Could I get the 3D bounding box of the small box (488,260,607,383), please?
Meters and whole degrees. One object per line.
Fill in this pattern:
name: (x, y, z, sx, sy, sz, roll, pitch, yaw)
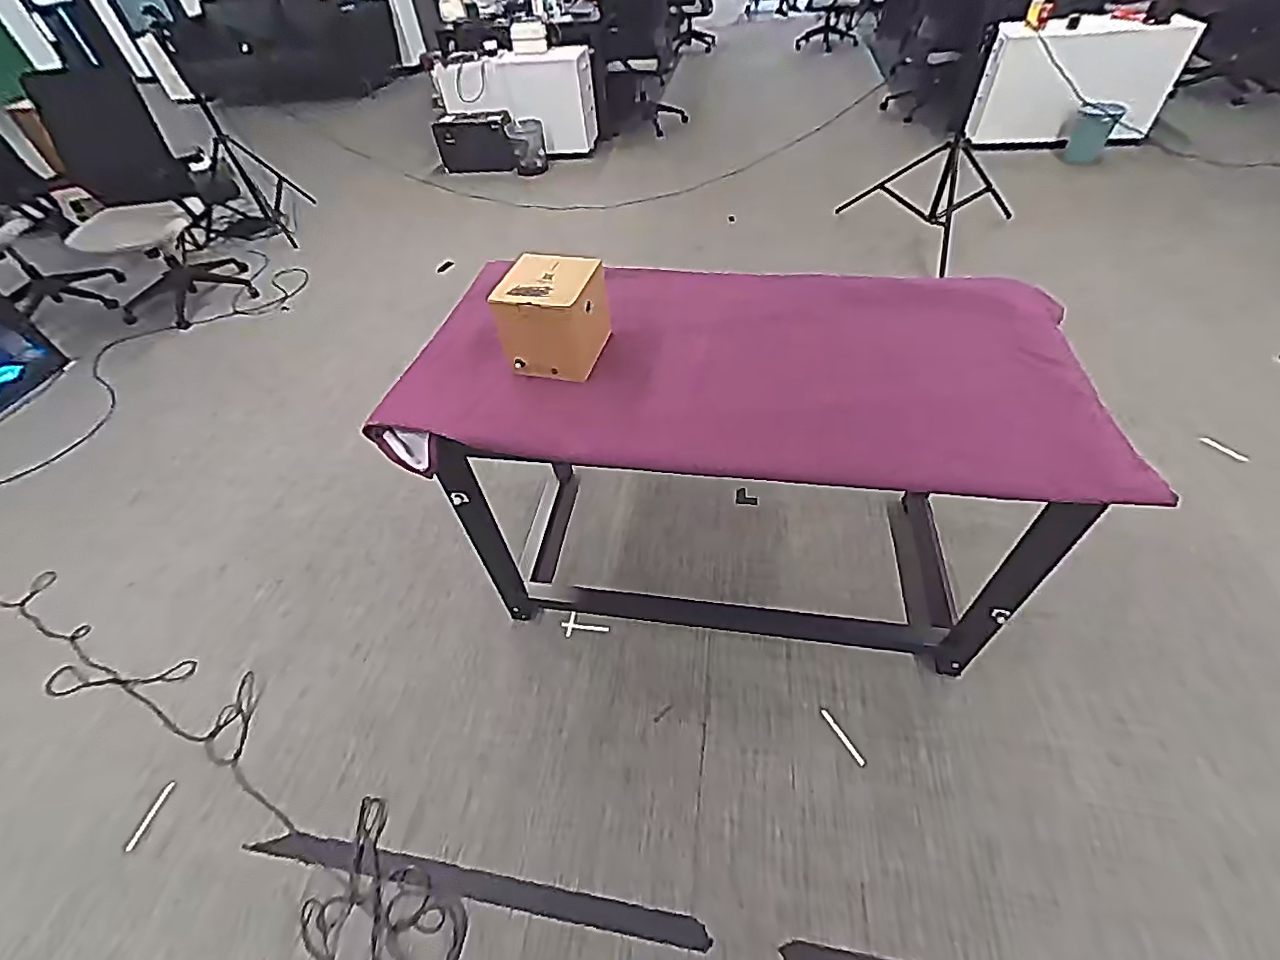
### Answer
small box: (-0.169, -0.311, 1.068, 0.168, 0.176, 0.179, 9, 50, 13)
